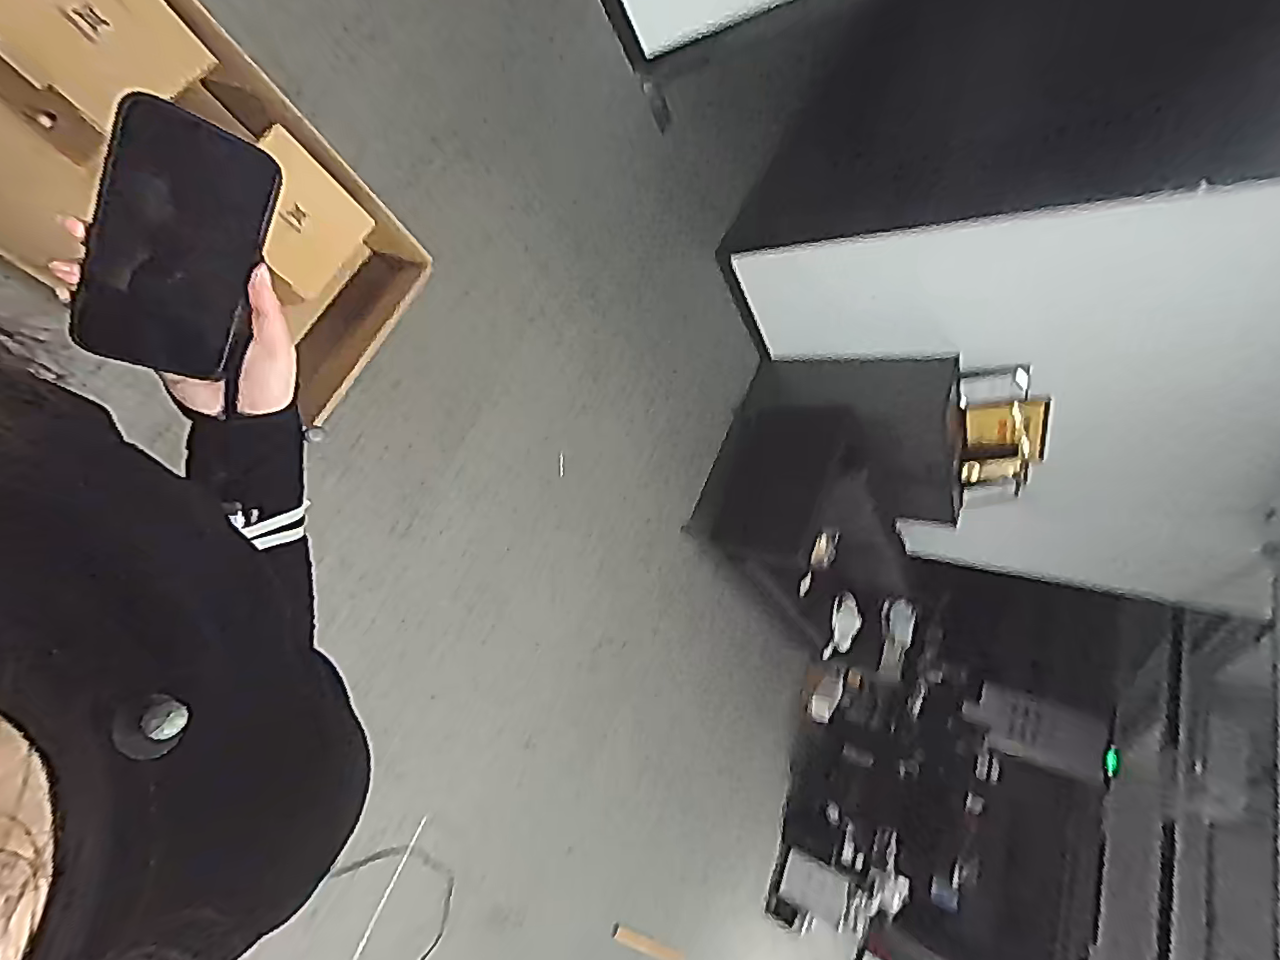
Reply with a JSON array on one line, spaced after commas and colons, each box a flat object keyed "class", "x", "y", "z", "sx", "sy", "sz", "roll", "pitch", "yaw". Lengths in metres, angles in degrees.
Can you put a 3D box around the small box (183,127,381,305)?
[{"class": "small box", "x": -0.548, "y": -0.392, "z": 0.829, "sx": 0.168, "sy": 0.176, "sz": 0.179, "roll": 47, "pitch": 62, "yaw": -46}]
